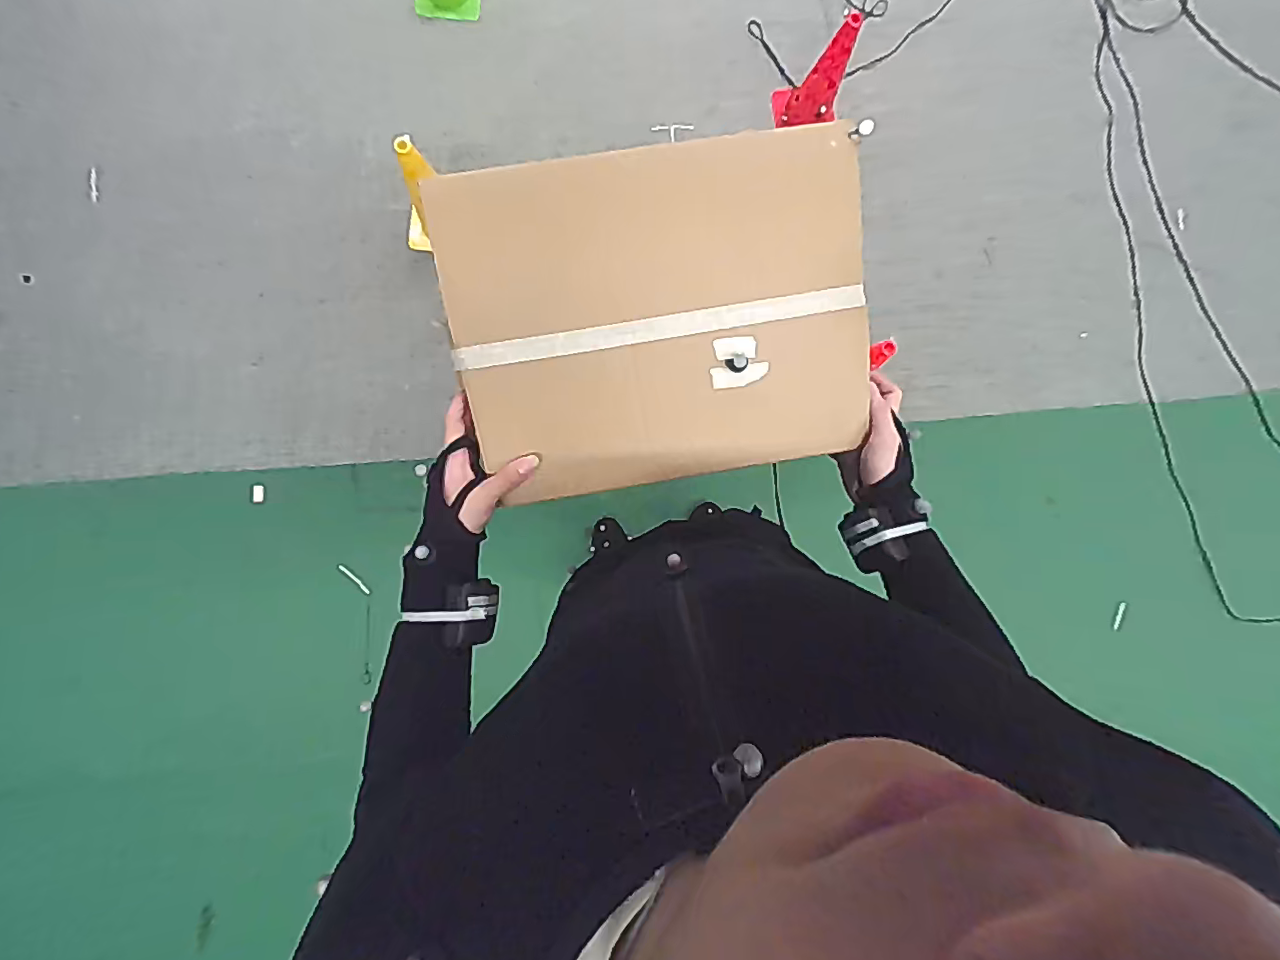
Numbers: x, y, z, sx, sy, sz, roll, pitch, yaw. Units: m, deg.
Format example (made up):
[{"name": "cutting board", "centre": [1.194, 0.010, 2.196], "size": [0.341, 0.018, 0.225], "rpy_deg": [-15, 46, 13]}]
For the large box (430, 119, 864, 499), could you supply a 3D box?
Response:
[{"name": "large box", "centre": [0.010, -0.195, 0.681], "size": [0.408, 0.320, 0.320], "rpy_deg": [-10, 106, -3]}]

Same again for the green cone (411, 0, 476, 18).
[{"name": "green cone", "centre": [-0.601, -1.552, 1.518], "size": [0.200, 0.368, 0.202], "rpy_deg": [1, 88, -4]}]
